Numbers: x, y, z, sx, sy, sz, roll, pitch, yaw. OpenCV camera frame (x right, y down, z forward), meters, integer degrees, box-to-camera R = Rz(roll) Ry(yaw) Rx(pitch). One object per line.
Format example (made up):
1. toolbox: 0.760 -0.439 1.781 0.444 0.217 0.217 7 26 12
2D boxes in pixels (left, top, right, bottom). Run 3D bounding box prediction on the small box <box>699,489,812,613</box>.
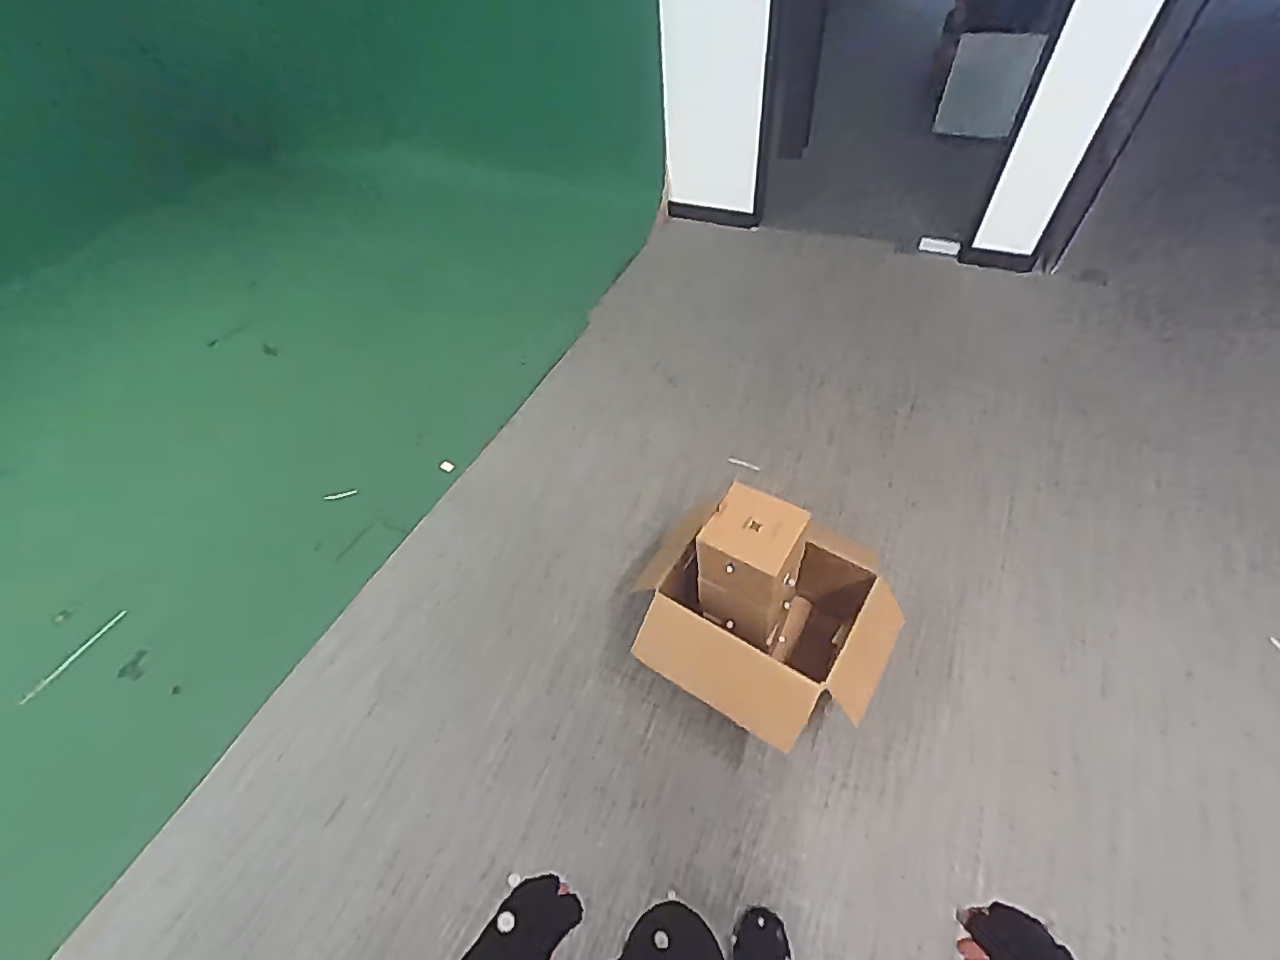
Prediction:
1. small box: 0.241 0.154 1.145 0.179 0.176 0.168 24 60 25
